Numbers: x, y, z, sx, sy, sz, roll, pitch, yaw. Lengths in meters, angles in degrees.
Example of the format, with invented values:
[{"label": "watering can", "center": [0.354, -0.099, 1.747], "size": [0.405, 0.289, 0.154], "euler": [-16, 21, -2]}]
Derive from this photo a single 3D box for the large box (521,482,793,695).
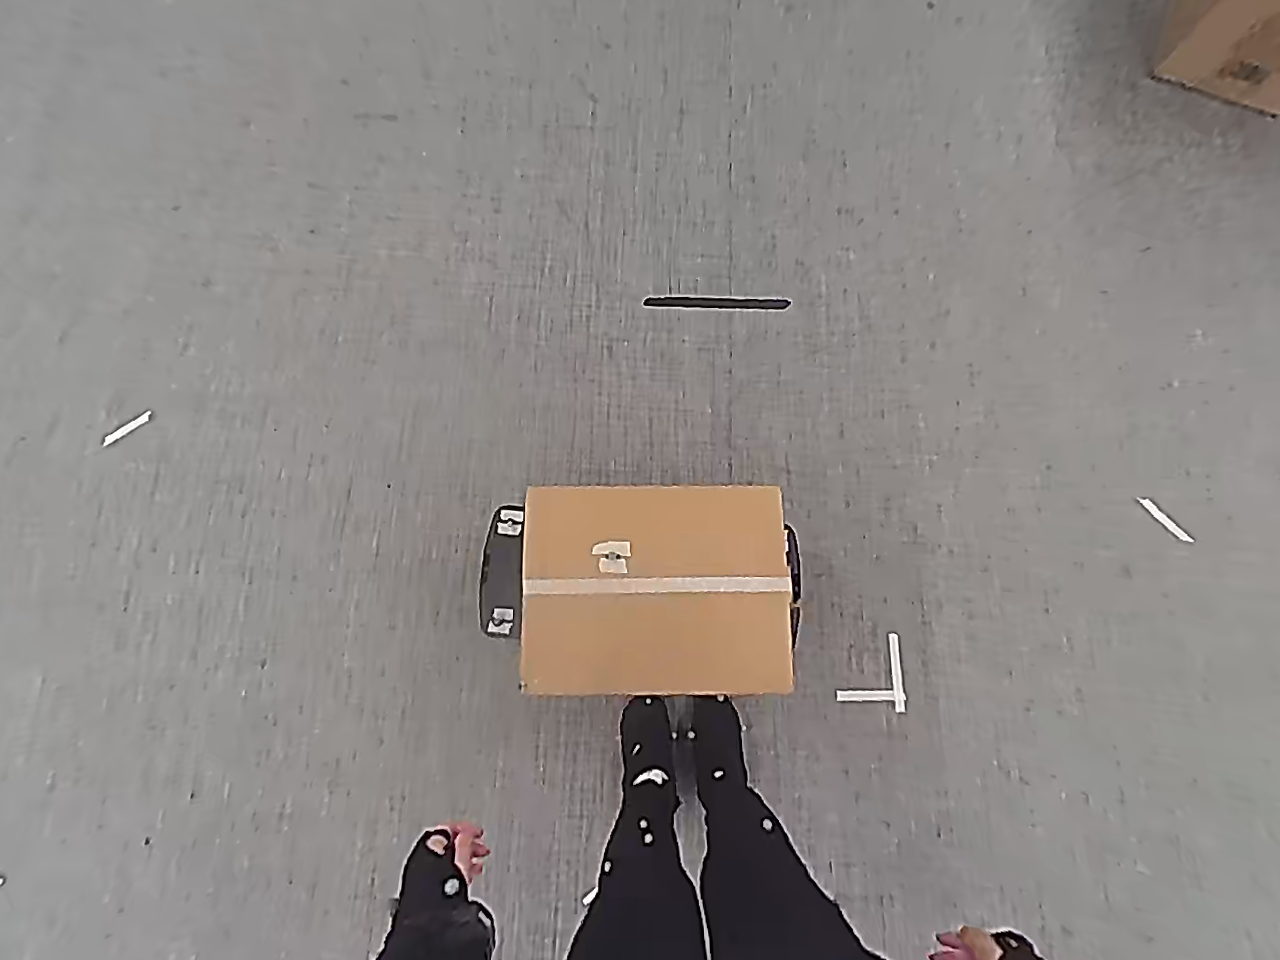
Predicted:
[{"label": "large box", "center": [0.025, 0.188, 0.960], "size": [0.408, 0.320, 0.320], "euler": [-1, 77, 0]}]
